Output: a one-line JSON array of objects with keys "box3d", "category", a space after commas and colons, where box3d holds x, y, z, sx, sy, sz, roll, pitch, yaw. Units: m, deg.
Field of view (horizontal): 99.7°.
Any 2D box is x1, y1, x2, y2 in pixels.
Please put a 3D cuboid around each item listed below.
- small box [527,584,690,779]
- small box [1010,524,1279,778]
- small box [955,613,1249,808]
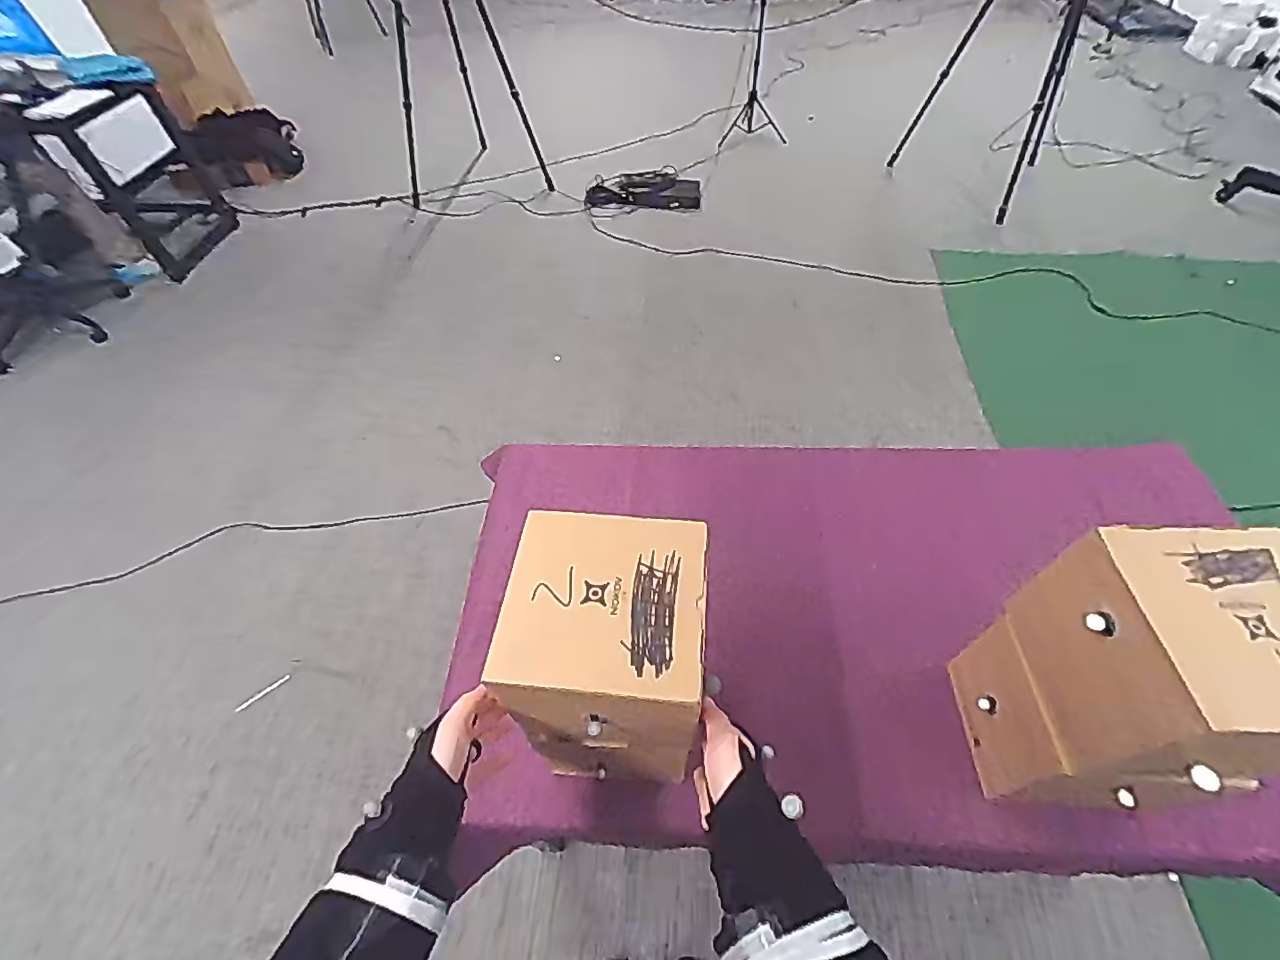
[{"box3d": [-0.028, 0.247, 0.662, 0.168, 0.176, 0.179, 2, 52, 4], "category": "small box"}, {"box3d": [0.486, 0.158, 0.497, 0.168, 0.176, 0.179, 0, 52, 3], "category": "small box"}, {"box3d": [0.492, 0.267, 0.620, 0.179, 0.176, 0.168, 2, 52, 4], "category": "small box"}]
